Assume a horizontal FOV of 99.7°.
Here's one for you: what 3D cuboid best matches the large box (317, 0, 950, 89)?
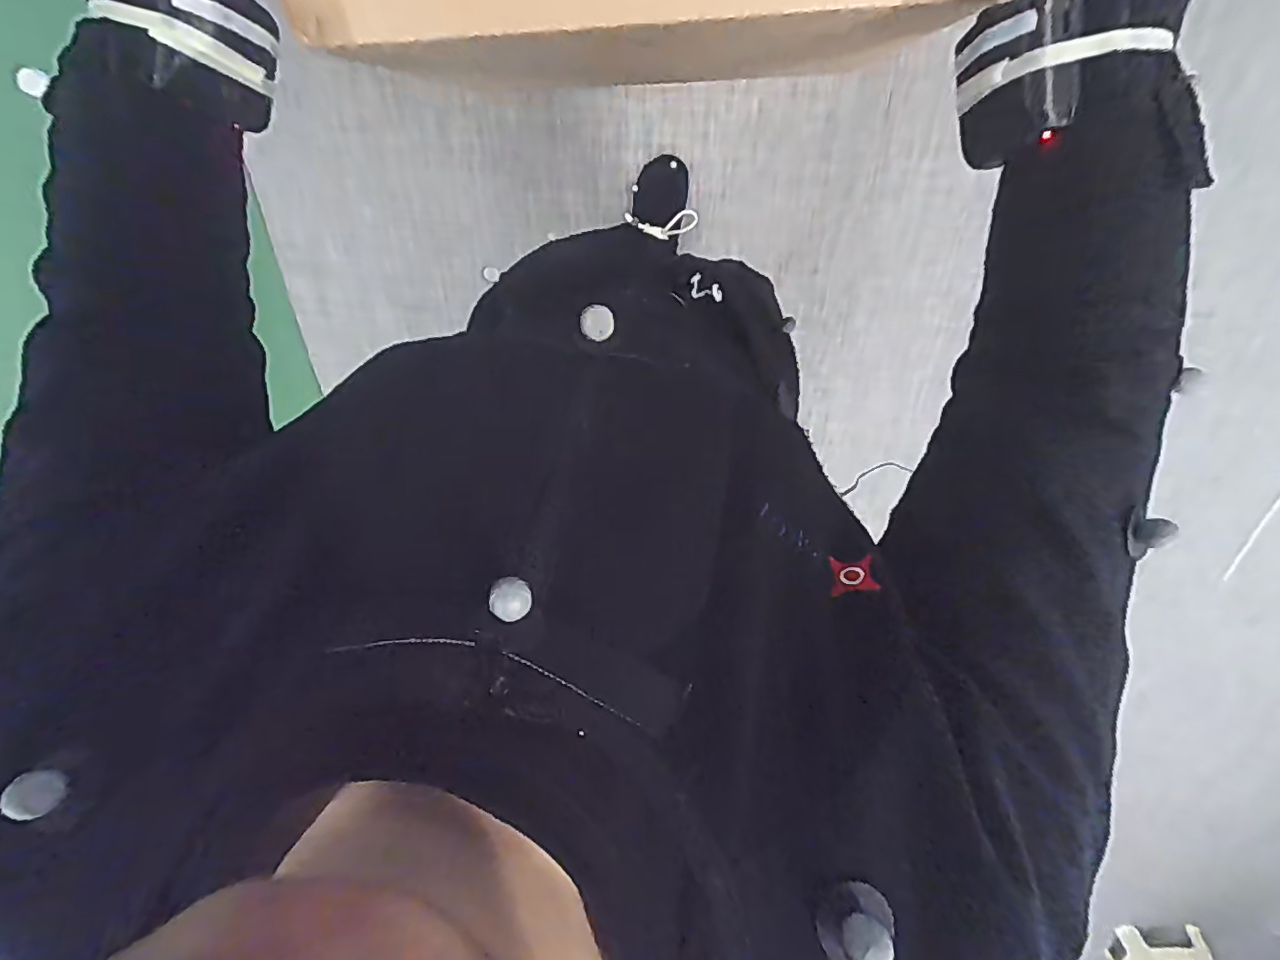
[{"bbox_3d":[0.006,-0.476,0.356,0.408,0.320,0.320,-1,122,4],"label":"large box"}]
